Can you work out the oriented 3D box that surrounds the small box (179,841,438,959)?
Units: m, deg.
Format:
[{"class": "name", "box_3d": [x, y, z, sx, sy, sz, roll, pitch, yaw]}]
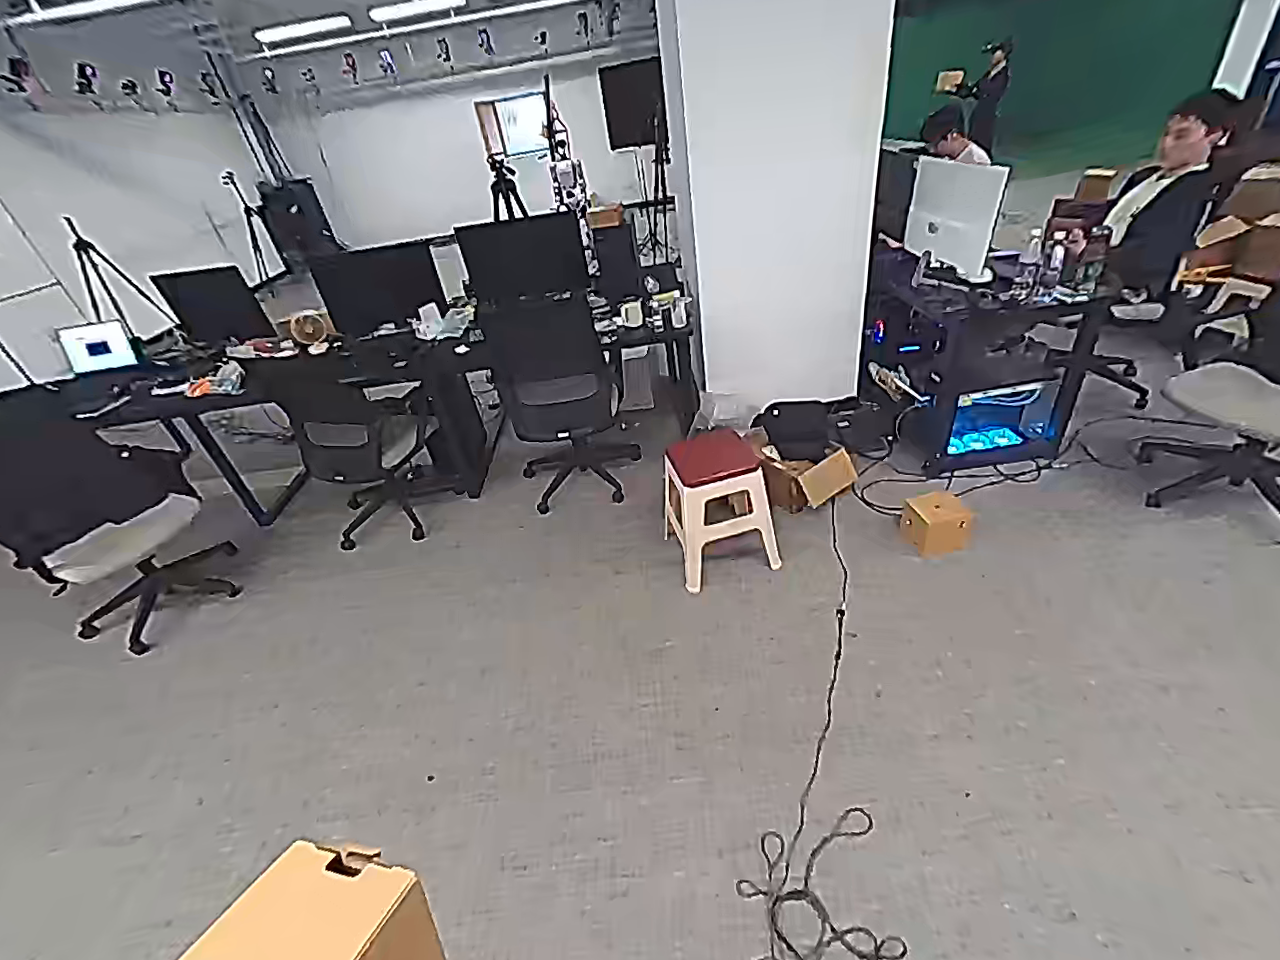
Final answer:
[{"class": "small box", "box_3d": [-0.307, 0.488, 0.498, 0.168, 0.176, 0.179, -1, 17, 20]}]
